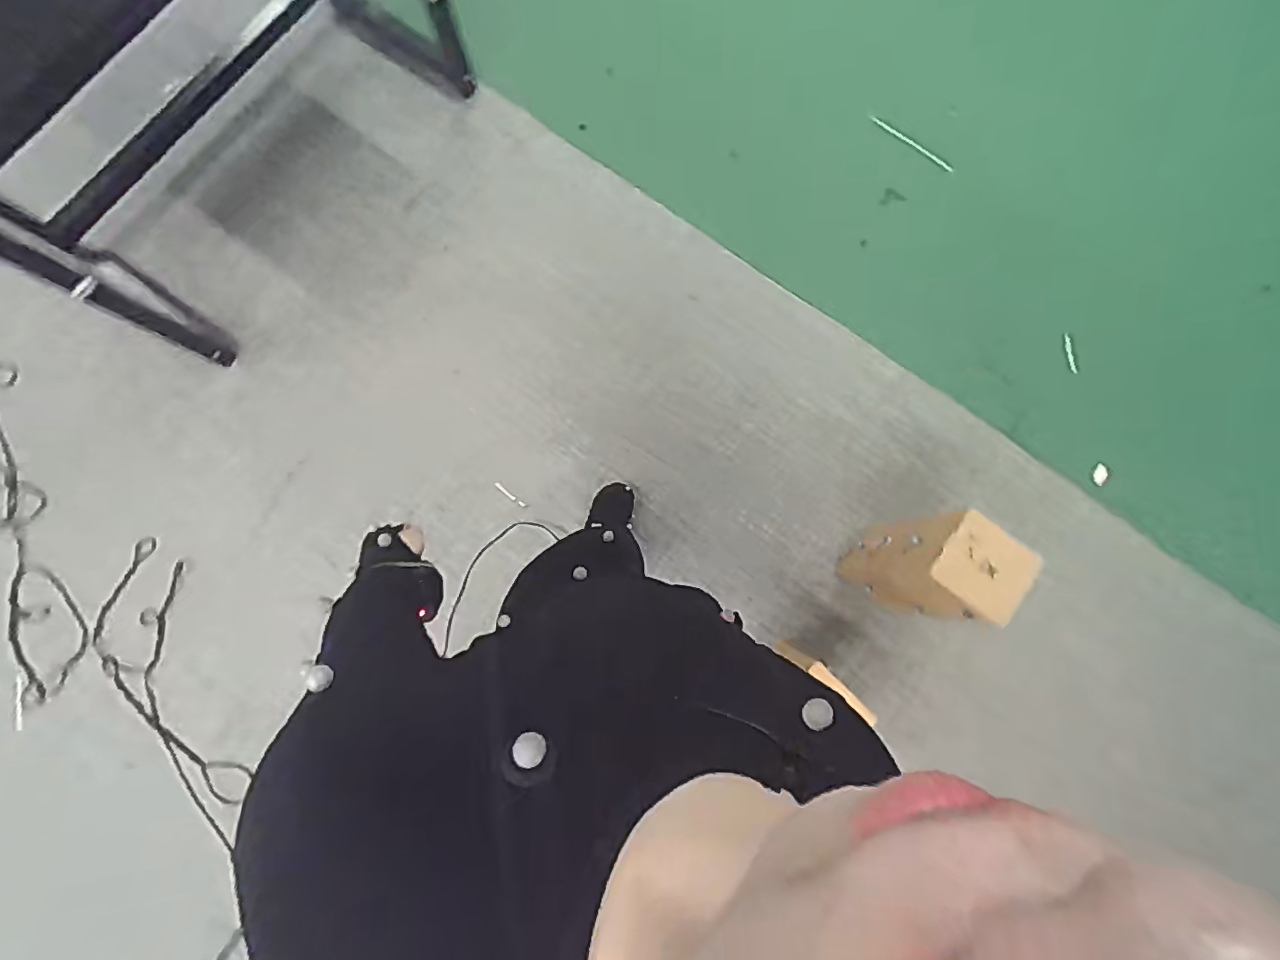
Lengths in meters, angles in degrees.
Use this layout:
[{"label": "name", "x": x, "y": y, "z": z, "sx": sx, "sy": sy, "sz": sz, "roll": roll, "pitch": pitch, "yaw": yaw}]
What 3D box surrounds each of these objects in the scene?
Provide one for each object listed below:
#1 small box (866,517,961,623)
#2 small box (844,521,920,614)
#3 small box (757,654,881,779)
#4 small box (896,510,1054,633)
[{"label": "small box", "x": 0.670, "y": 0.207, "z": 1.260, "sx": 0.179, "sy": 0.176, "sz": 0.168, "roll": 38, "pitch": 82, "yaw": 6}, {"label": "small box", "x": 0.673, "y": 0.231, "z": 1.421, "sx": 0.179, "sy": 0.176, "sz": 0.168, "roll": 41, "pitch": 83, "yaw": 6}, {"label": "small box", "x": 0.390, "y": 0.515, "z": 1.212, "sx": 0.168, "sy": 0.176, "sz": 0.179, "roll": -45, "pitch": 83, "yaw": -6}, {"label": "small box", "x": 0.667, "y": 0.182, "z": 1.097, "sx": 0.179, "sy": 0.176, "sz": 0.168, "roll": 38, "pitch": 82, "yaw": 5}]
